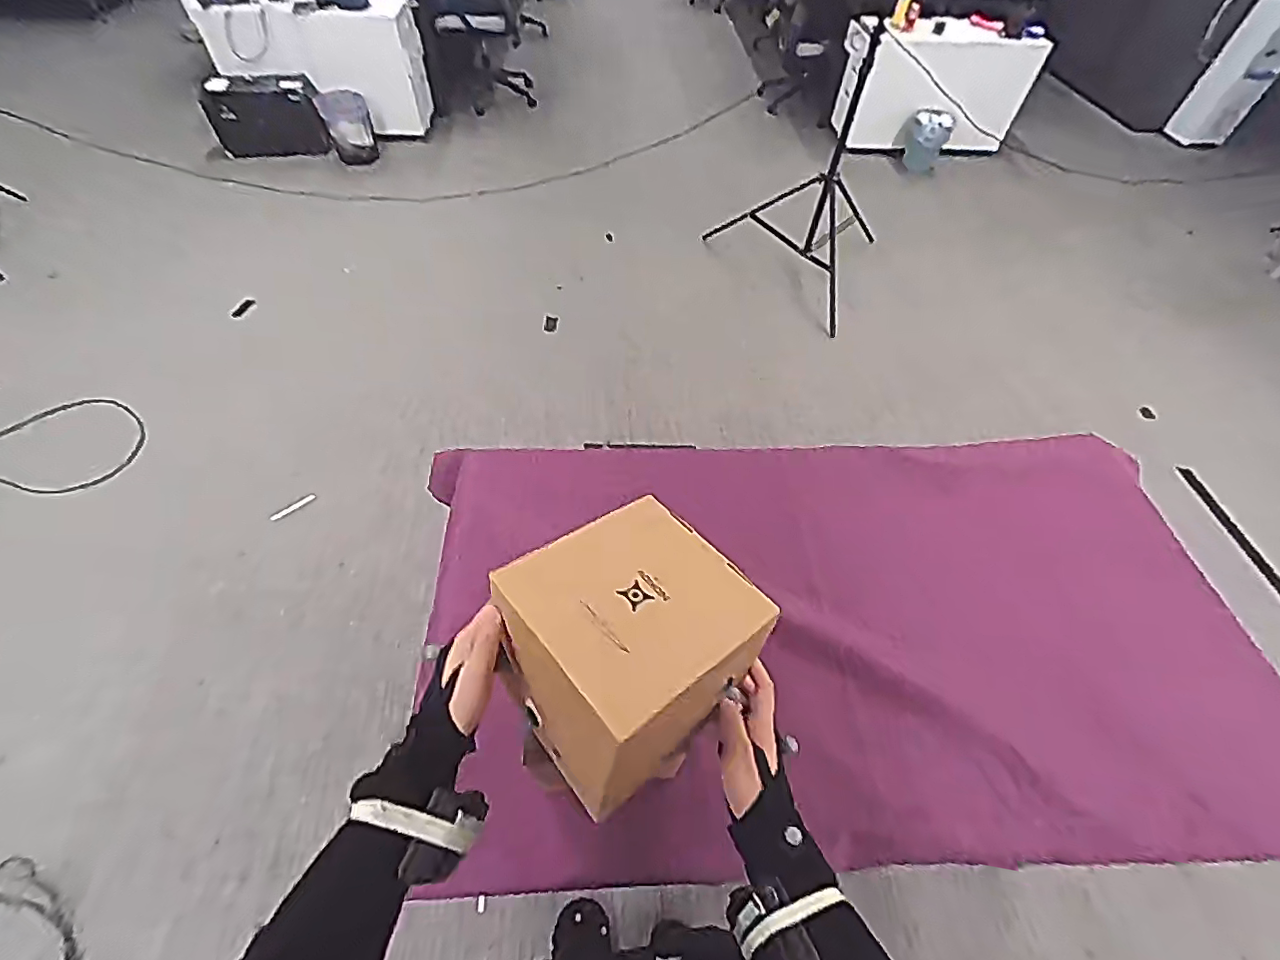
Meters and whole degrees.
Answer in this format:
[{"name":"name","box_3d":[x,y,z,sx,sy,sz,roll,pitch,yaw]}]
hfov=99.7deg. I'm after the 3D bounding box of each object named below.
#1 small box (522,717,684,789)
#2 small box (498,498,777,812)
[{"name":"small box","box_3d":[-0.047,0.253,0.651,0.168,0.176,0.179,-3,53,-5]},{"name":"small box","box_3d":[-0.012,0.153,0.492,0.179,0.176,0.168,-27,53,-34]}]
